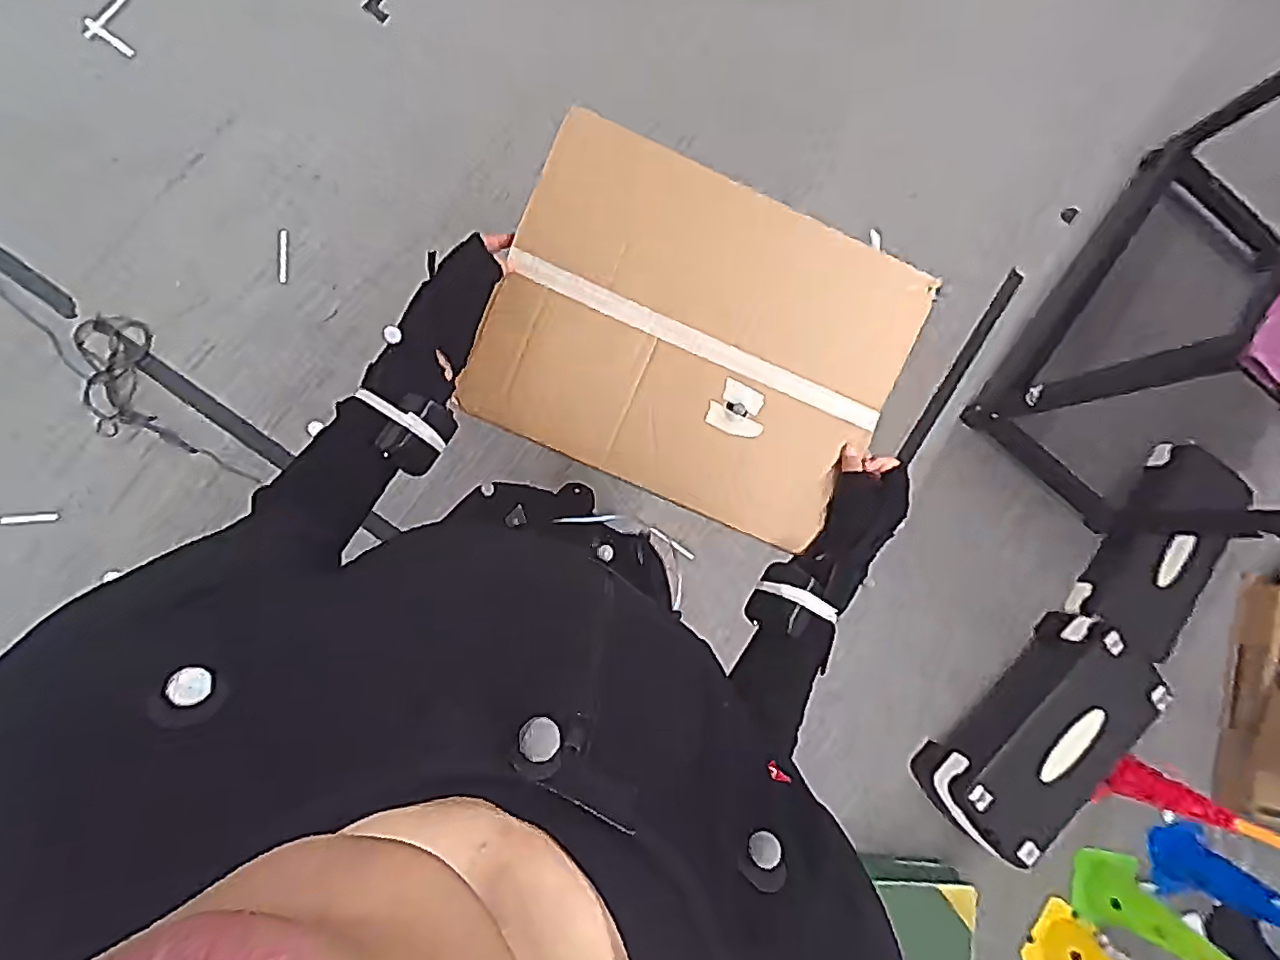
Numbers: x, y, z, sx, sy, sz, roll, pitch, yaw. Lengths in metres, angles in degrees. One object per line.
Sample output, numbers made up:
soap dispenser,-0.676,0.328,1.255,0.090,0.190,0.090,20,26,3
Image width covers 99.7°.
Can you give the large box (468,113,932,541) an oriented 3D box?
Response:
large box,0.055,-0.162,0.701,0.408,0.320,0.320,24,95,-4
